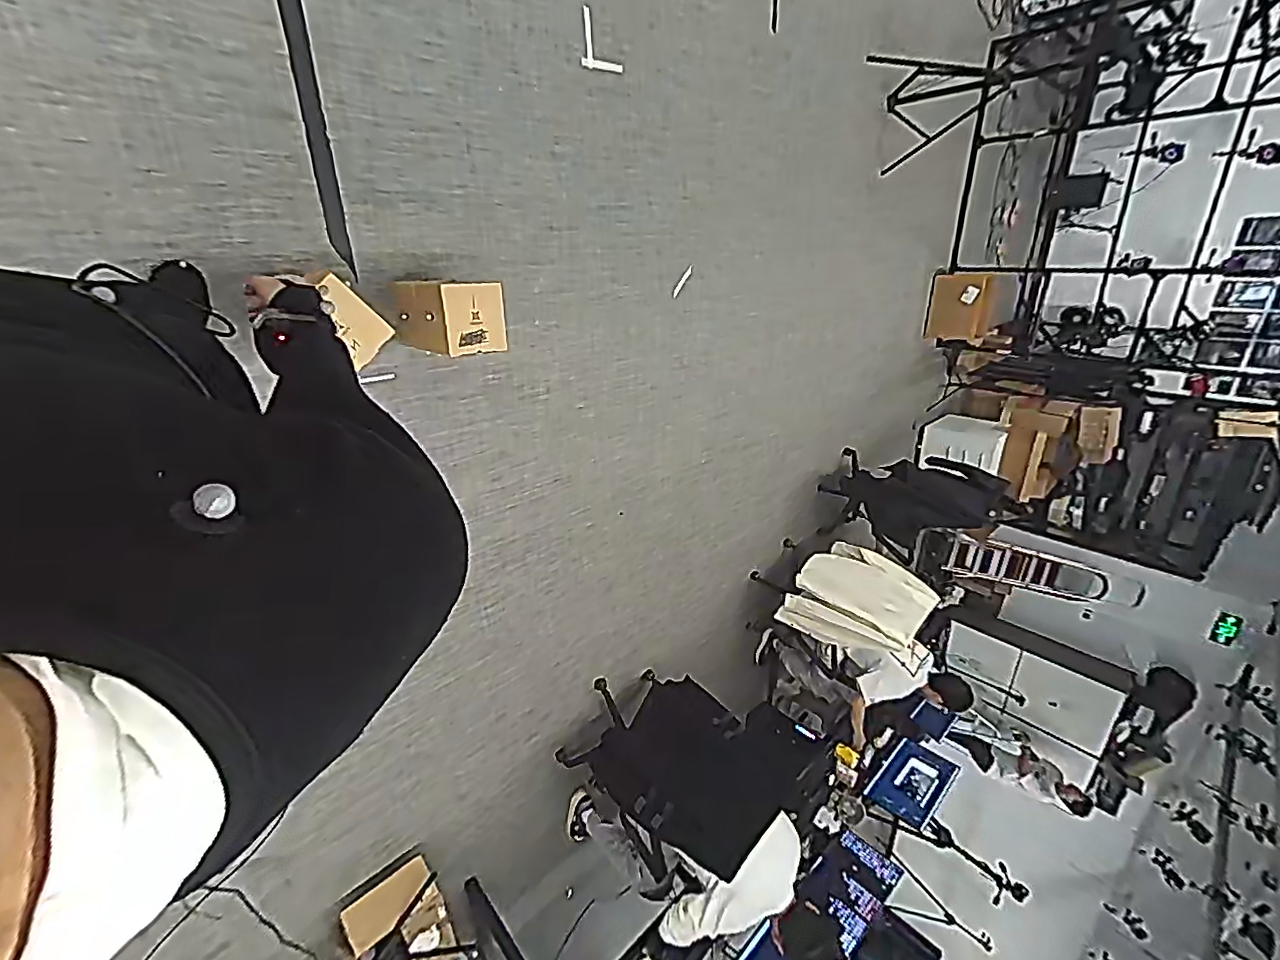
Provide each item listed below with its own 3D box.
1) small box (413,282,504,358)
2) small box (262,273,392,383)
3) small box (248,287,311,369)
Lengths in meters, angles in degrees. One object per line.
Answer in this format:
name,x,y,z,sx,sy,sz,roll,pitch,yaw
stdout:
small box,-0.479,-0.428,1.427,0.168,0.176,0.179,-20,118,-40
small box,-0.713,-0.346,1.228,0.168,0.176,0.179,-55,136,-13
small box,-0.834,-0.383,1.333,0.168,0.176,0.179,-24,121,-37
